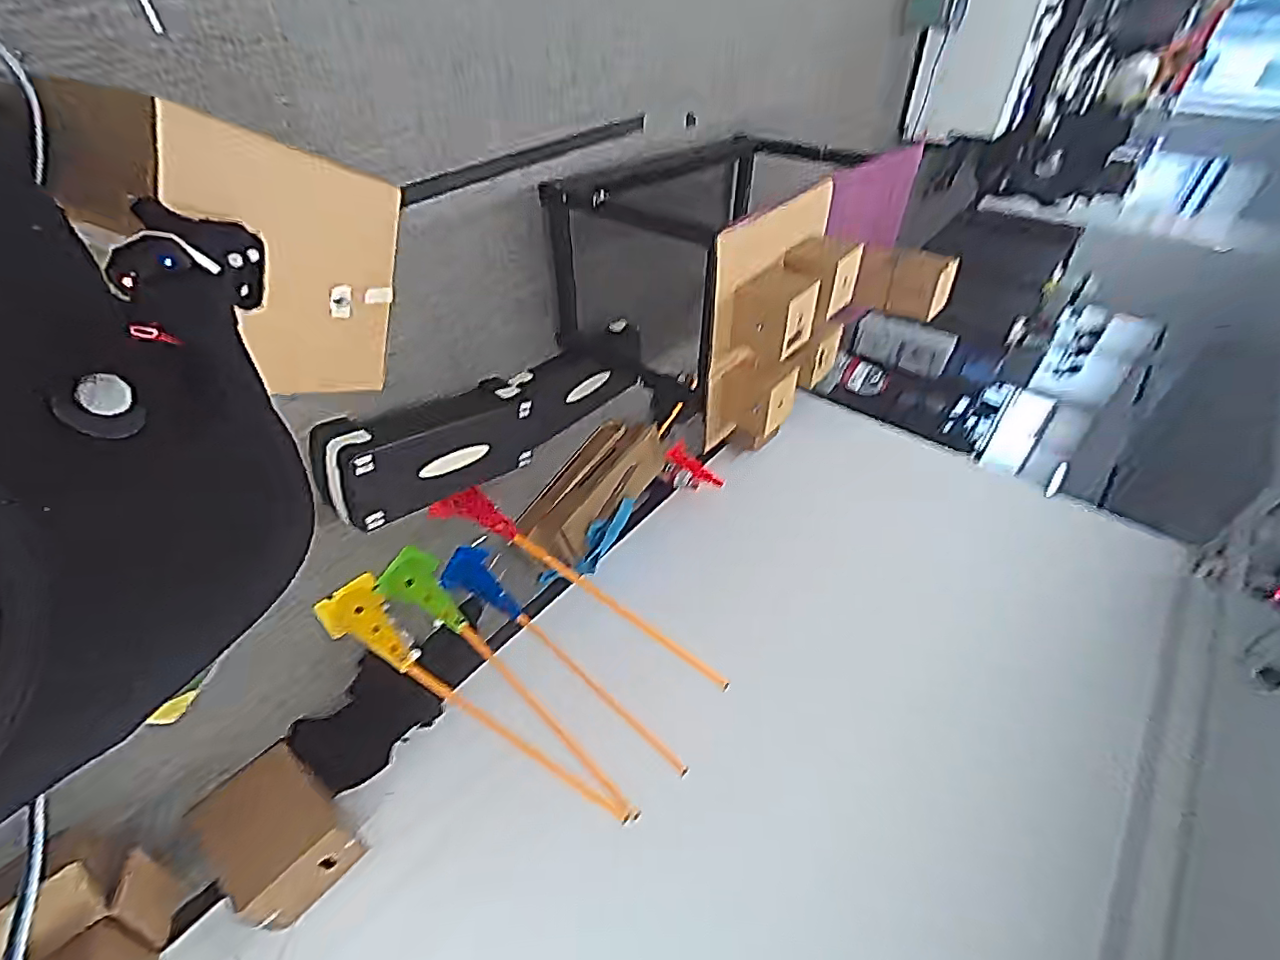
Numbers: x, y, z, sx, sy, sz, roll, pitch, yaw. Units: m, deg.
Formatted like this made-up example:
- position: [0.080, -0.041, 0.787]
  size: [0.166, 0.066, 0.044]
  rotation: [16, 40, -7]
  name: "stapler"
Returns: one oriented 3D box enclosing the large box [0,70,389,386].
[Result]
- position: [-0.632, -0.342, 0.784]
  size: [0.320, 0.408, 0.320]
  rotation: [-24, 131, -62]
  name: "large box"
